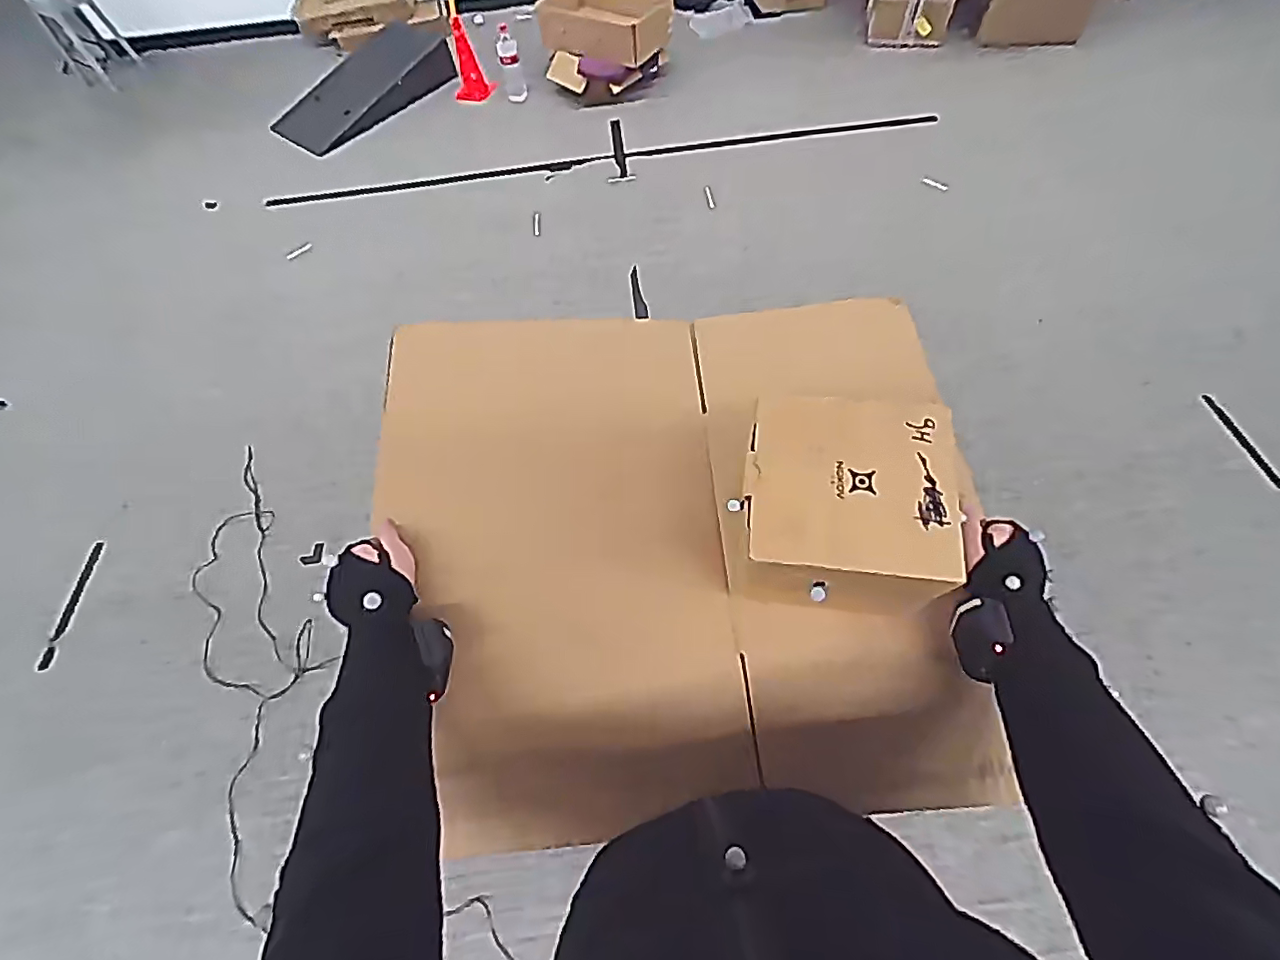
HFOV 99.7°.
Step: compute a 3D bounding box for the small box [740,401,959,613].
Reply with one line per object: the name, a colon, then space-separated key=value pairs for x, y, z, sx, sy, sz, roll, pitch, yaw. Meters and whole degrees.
small box: x=0.197 y=0.035 z=0.557 sx=0.179 sy=0.176 sz=0.168 roll=4 pitch=68 yaw=9
